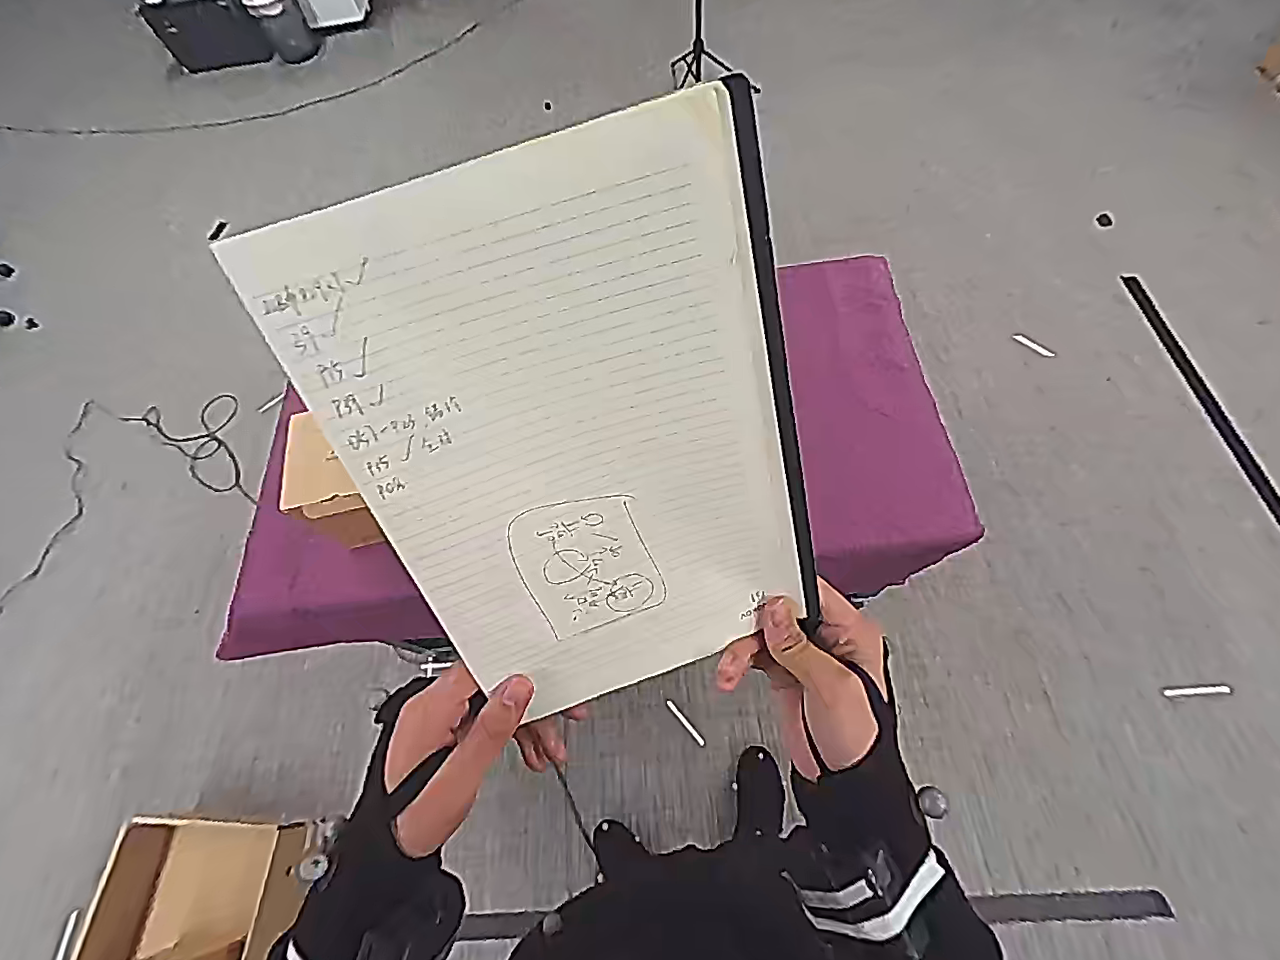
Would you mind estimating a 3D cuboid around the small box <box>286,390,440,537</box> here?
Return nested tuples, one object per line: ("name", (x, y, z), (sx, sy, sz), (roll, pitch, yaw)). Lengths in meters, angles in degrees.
("small box", (-0.443, -0.016, 0.892), (0.168, 0.176, 0.179), (-12, 63, -1))
